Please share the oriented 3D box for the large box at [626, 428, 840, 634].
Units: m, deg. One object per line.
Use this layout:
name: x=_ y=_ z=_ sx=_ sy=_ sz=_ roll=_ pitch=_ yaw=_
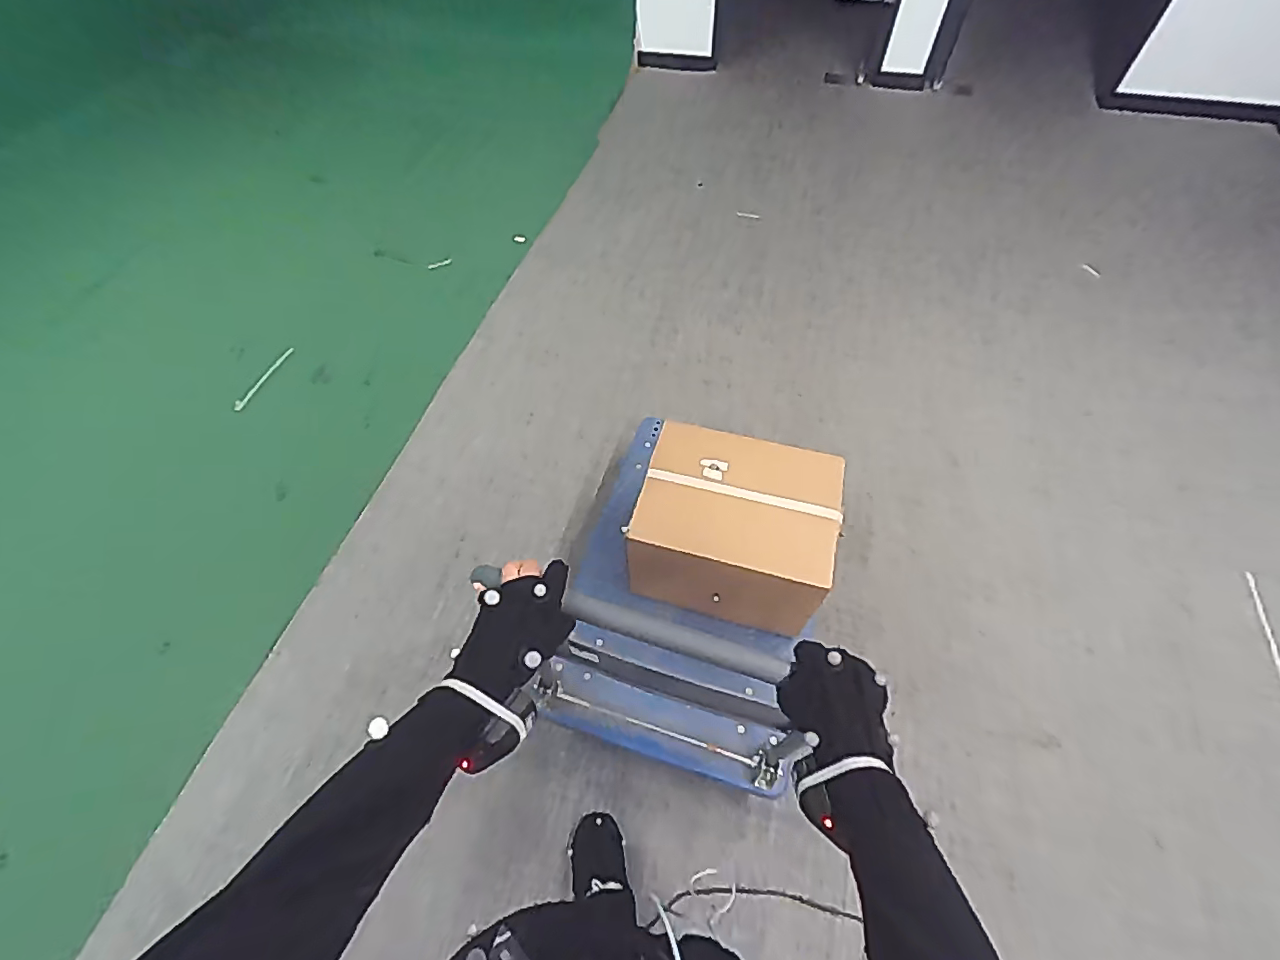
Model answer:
large box: x=0.212 y=0.124 z=1.253 sx=0.408 sy=0.320 sz=0.320 roll=13 pitch=58 yaw=12
